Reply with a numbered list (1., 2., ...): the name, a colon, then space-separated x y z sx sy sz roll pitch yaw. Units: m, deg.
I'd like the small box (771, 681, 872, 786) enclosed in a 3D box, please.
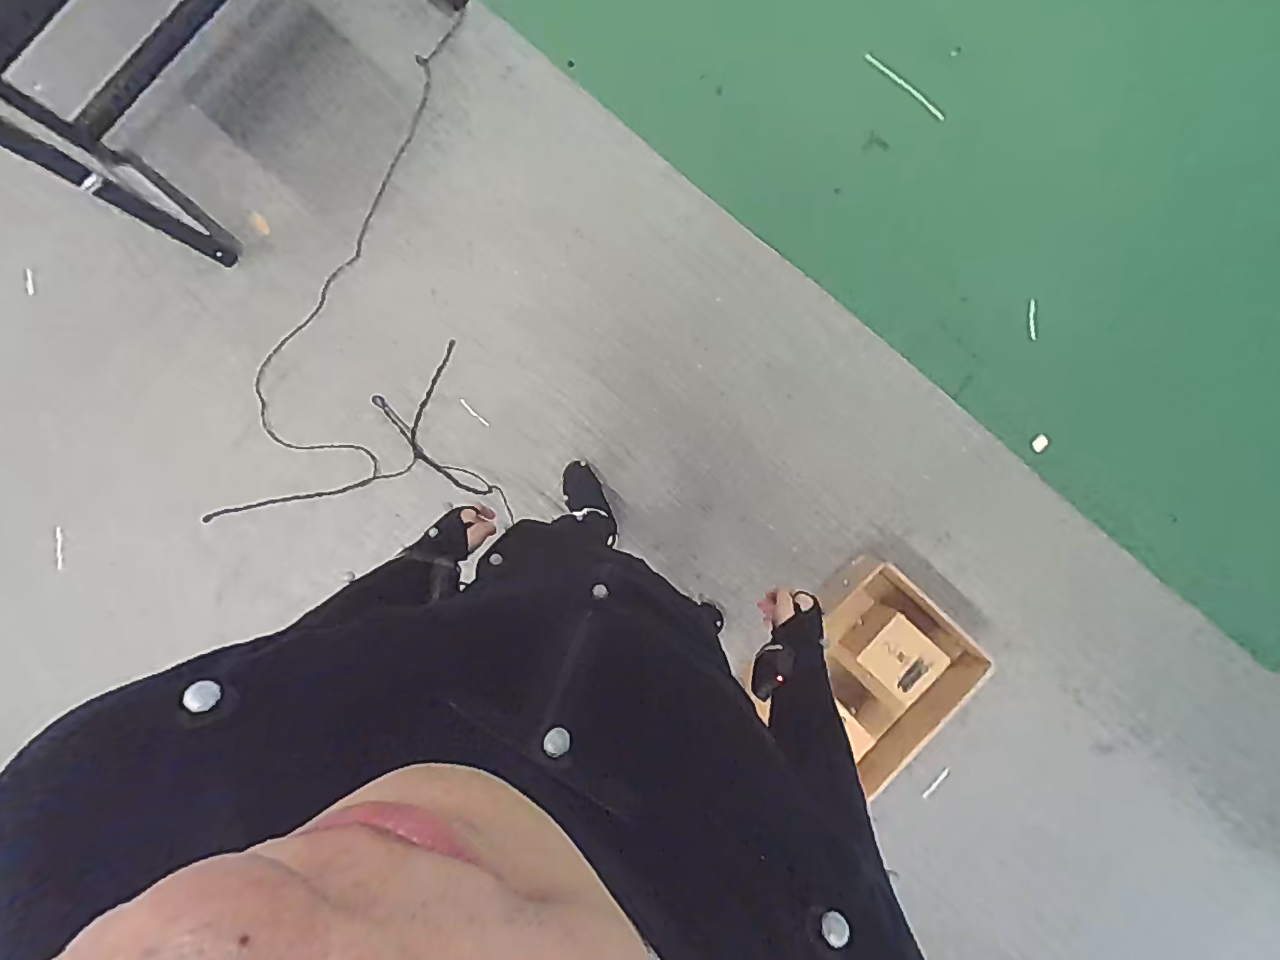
1. small box: 0.479 0.669 1.462 0.168 0.176 0.179 -44 86 -1
